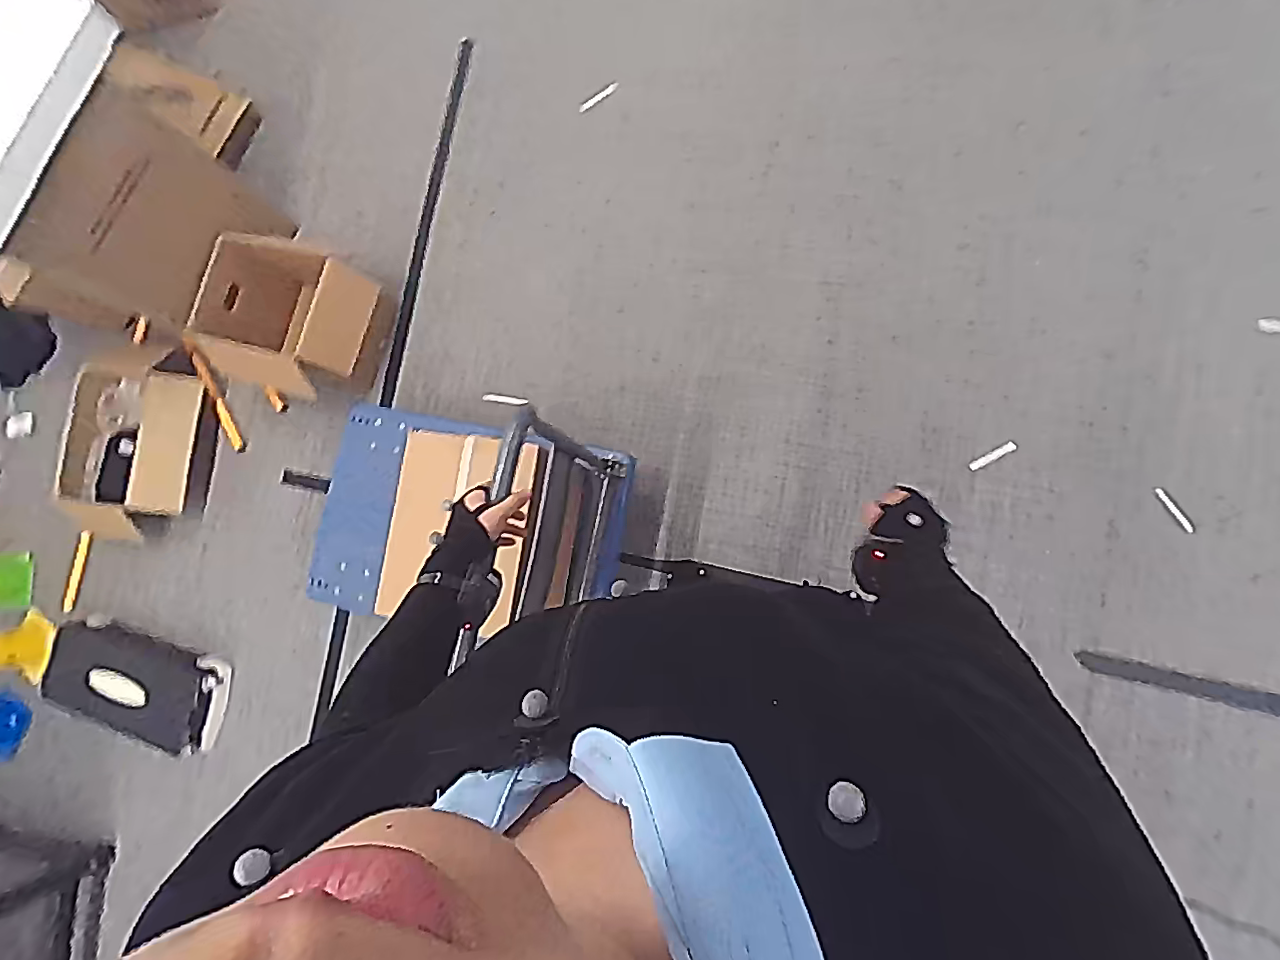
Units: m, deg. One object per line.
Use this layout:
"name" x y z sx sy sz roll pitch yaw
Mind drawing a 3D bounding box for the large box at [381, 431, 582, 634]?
"large box" -0.353 0.124 1.287 0.320 0.320 0.408 7 84 13
